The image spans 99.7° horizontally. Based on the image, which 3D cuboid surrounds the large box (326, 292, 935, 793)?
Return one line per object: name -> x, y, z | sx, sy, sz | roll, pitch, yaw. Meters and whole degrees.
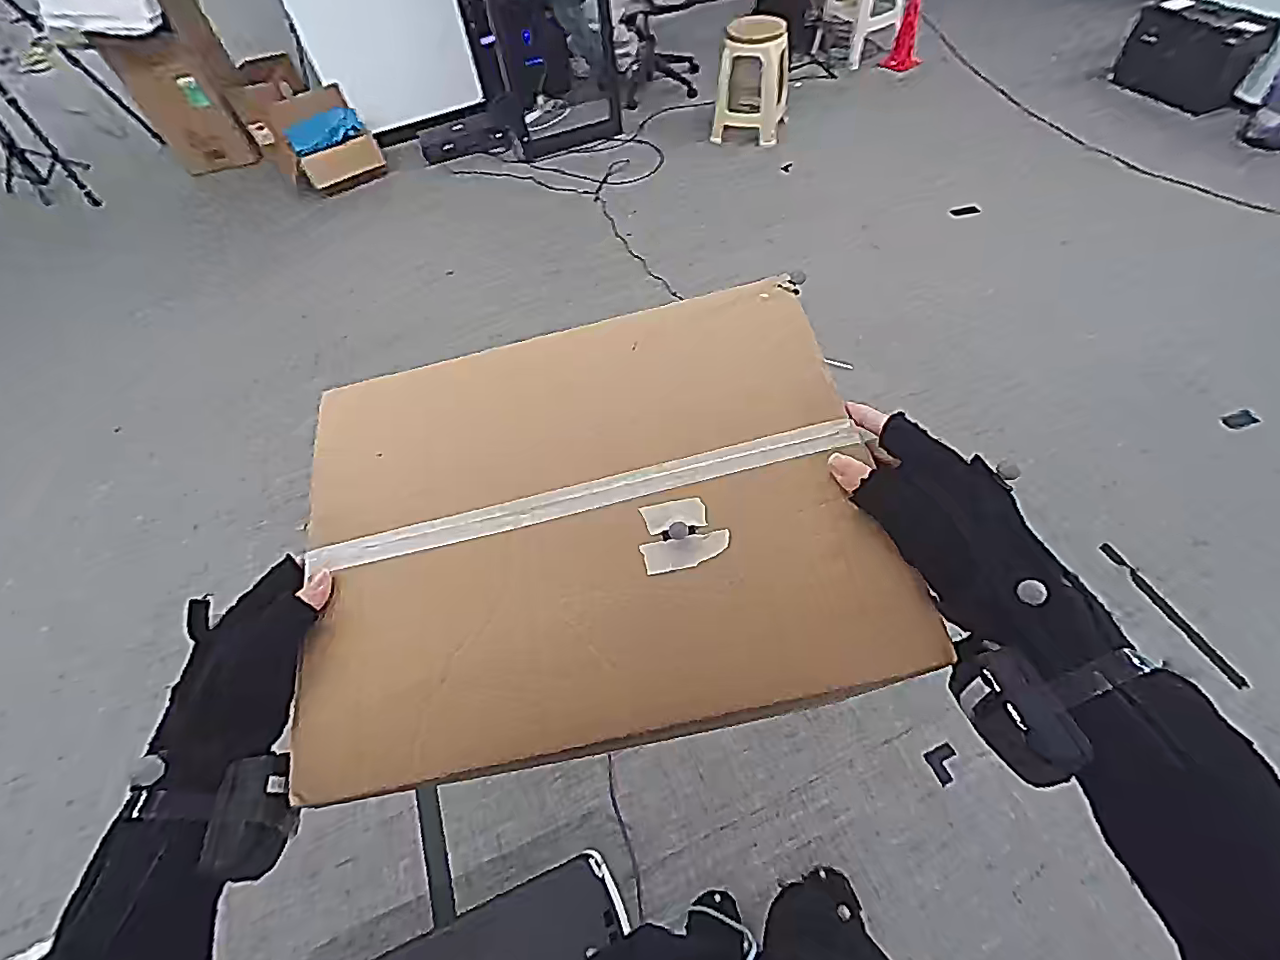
large box -> -0.020, 0.082, 0.536 | 0.408, 0.320, 0.320 | -14, 64, 2
